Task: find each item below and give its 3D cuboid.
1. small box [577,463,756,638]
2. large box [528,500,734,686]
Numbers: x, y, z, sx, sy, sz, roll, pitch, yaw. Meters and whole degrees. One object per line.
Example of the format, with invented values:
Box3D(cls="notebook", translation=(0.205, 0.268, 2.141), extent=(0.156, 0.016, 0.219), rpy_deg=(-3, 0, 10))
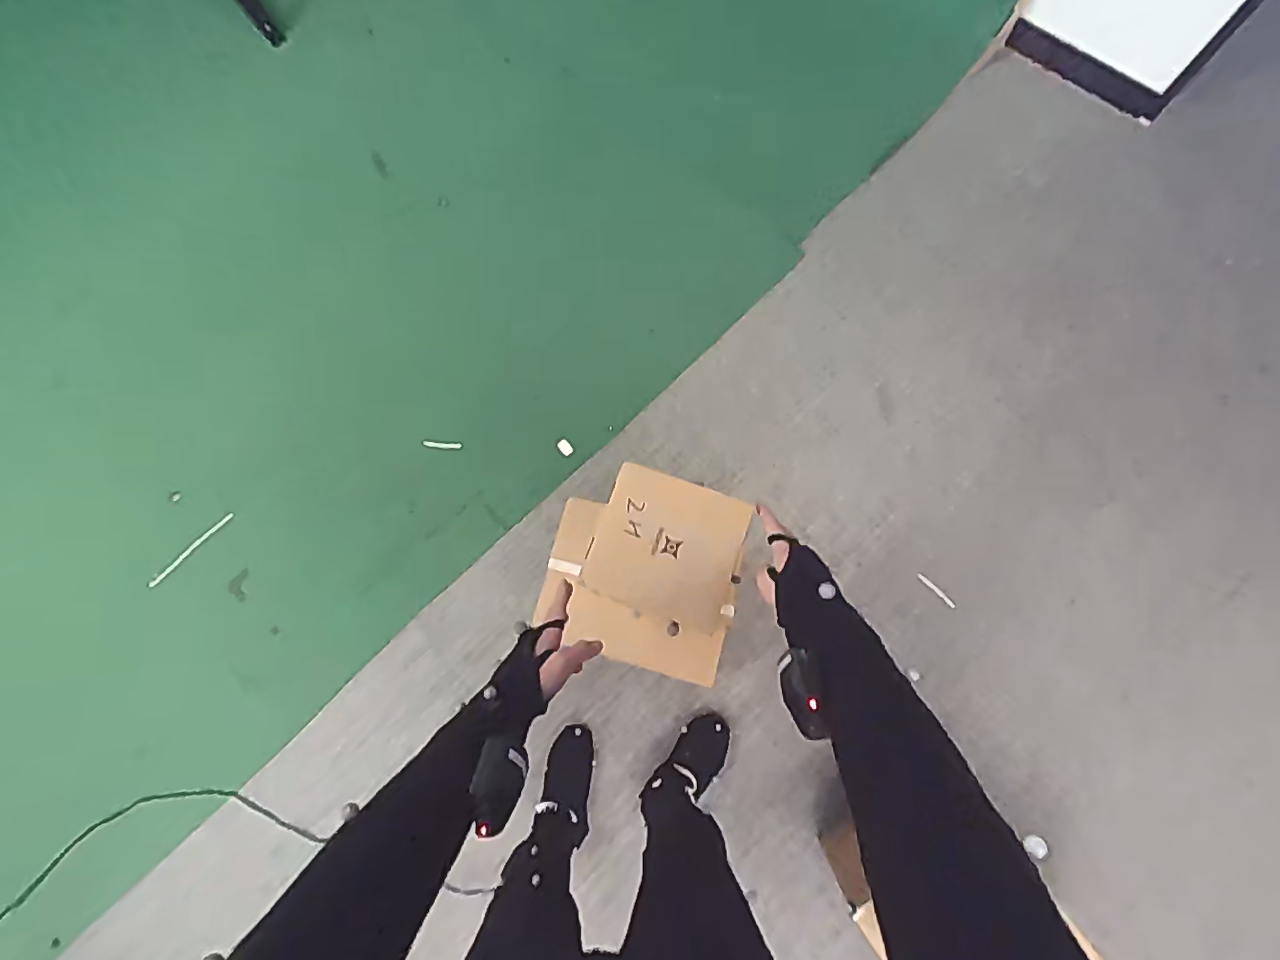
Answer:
Box3D(cls="small box", translation=(0.040, 0.097, 0.729), extent=(0.179, 0.176, 0.168), rpy_deg=(20, 79, 11))
Box3D(cls="large box", translation=(0.007, 0.264, 1.288), extent=(0.408, 0.320, 0.320), rpy_deg=(13, 78, 11))
